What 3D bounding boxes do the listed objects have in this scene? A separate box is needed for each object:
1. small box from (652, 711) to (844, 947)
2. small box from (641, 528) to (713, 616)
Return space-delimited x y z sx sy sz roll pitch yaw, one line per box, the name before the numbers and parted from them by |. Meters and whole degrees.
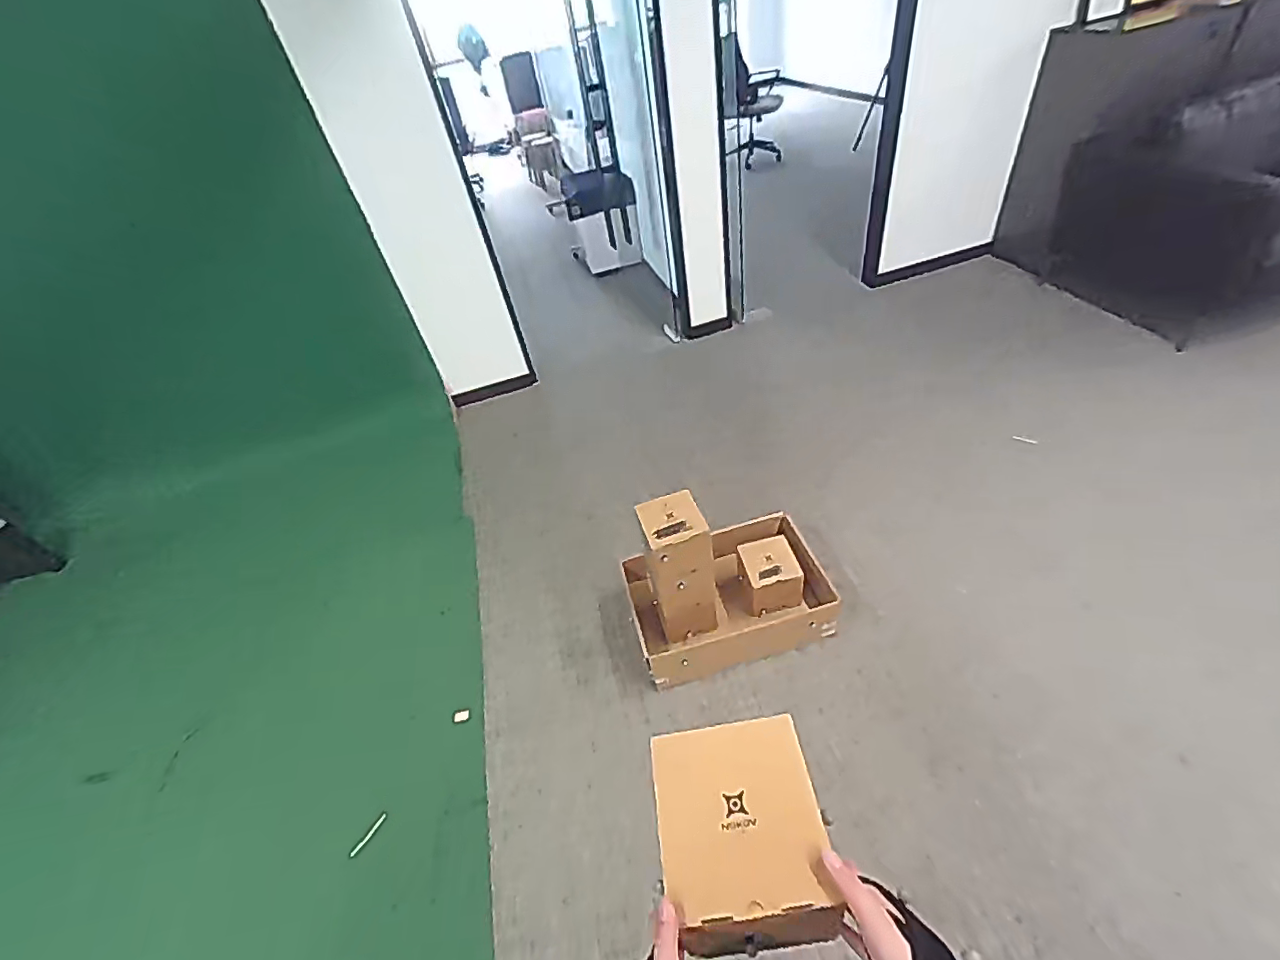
small box | 0.111 0.391 0.607 0.168 0.176 0.179 -11 42 3
small box | 0.112 0.281 1.643 0.168 0.176 0.179 -18 43 -6
